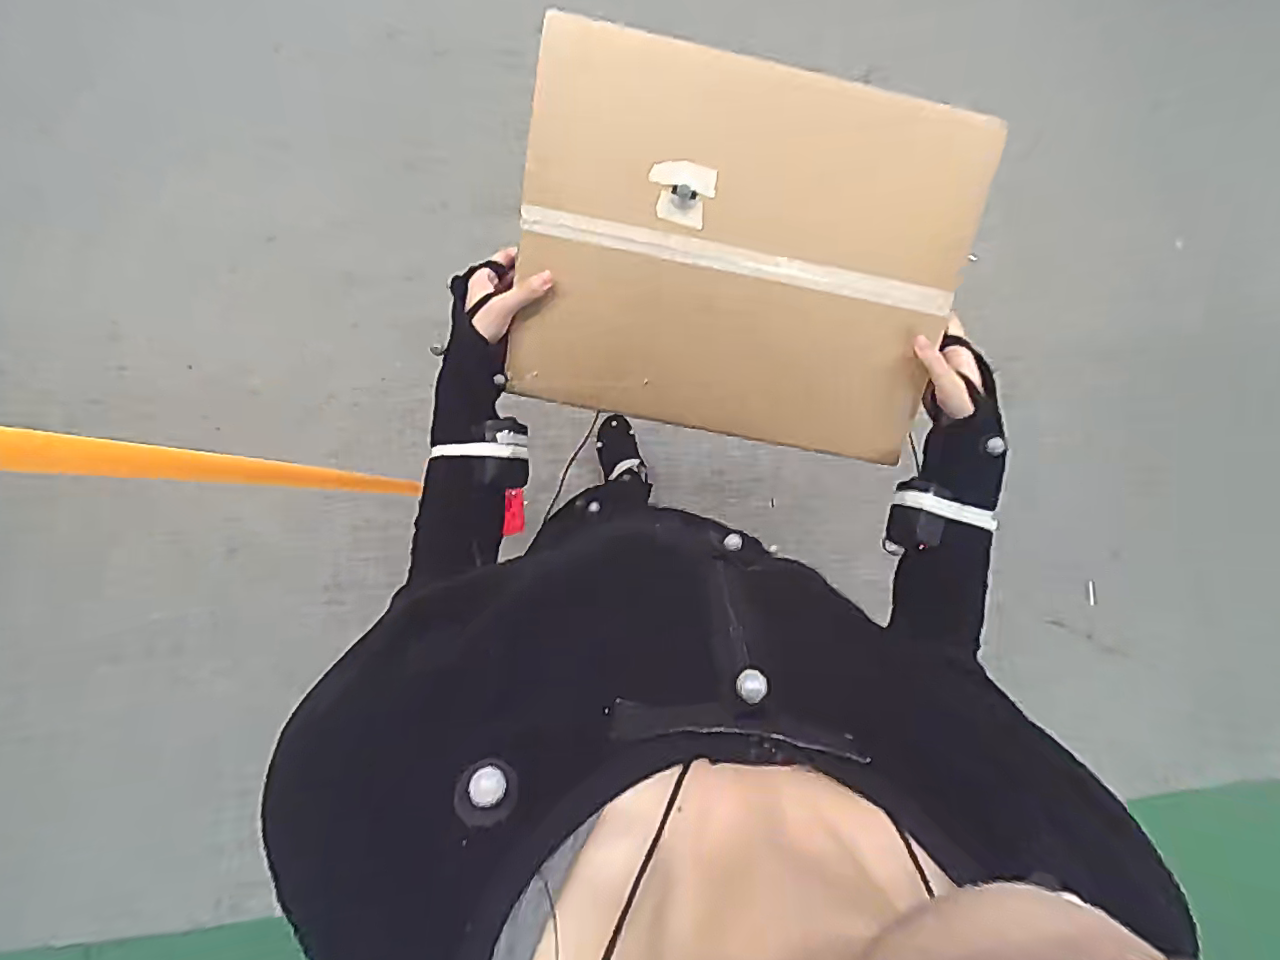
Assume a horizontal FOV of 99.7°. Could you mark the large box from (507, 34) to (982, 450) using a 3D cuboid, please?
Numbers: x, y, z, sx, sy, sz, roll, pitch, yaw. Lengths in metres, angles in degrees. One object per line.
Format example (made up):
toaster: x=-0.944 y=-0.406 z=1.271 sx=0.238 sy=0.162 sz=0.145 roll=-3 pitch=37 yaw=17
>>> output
large box: x=0.086 y=-0.247 z=0.654 sx=0.408 sy=0.320 sz=0.320 roll=10 pitch=105 yaw=-4
